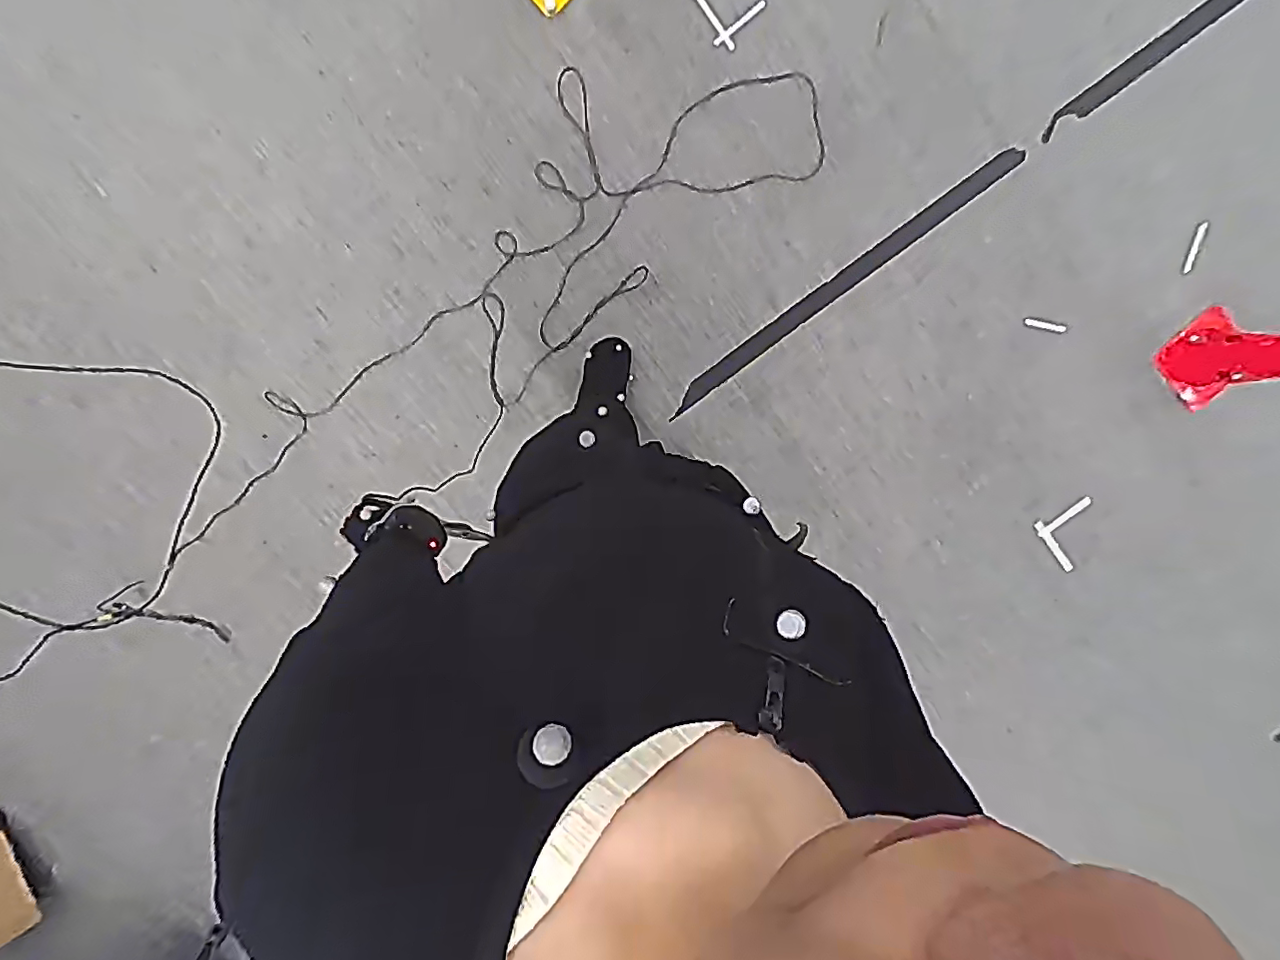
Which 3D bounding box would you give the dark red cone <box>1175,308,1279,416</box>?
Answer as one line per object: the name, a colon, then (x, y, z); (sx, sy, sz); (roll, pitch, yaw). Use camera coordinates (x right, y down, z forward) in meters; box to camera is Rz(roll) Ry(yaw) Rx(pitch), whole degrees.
dark red cone: (1.434, -0.258, 1.160); (0.202, 0.394, 0.201); (-44, 98, 6)
